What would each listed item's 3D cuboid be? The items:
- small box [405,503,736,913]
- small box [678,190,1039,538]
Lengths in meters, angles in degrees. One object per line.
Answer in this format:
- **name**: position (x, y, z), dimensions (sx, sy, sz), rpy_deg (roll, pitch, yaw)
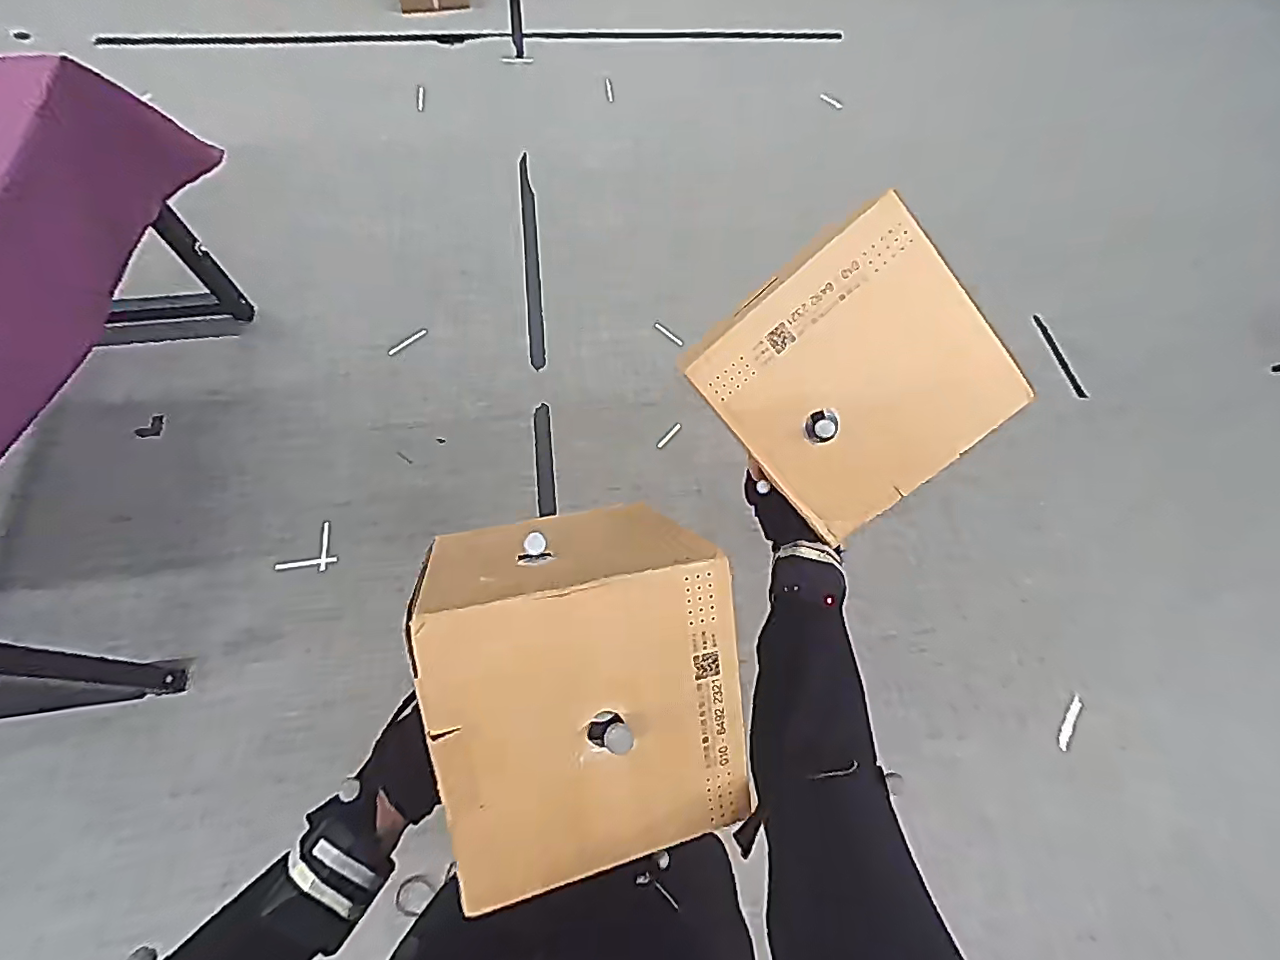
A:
- **small box**: position (-0.045, 0.116, 0.358), dimensions (0.176, 0.179, 0.168), rpy_deg (-8, 99, -17)
- **small box**: position (0.144, -0.090, 0.426), dimensions (0.168, 0.179, 0.176), rpy_deg (-39, 100, 10)
